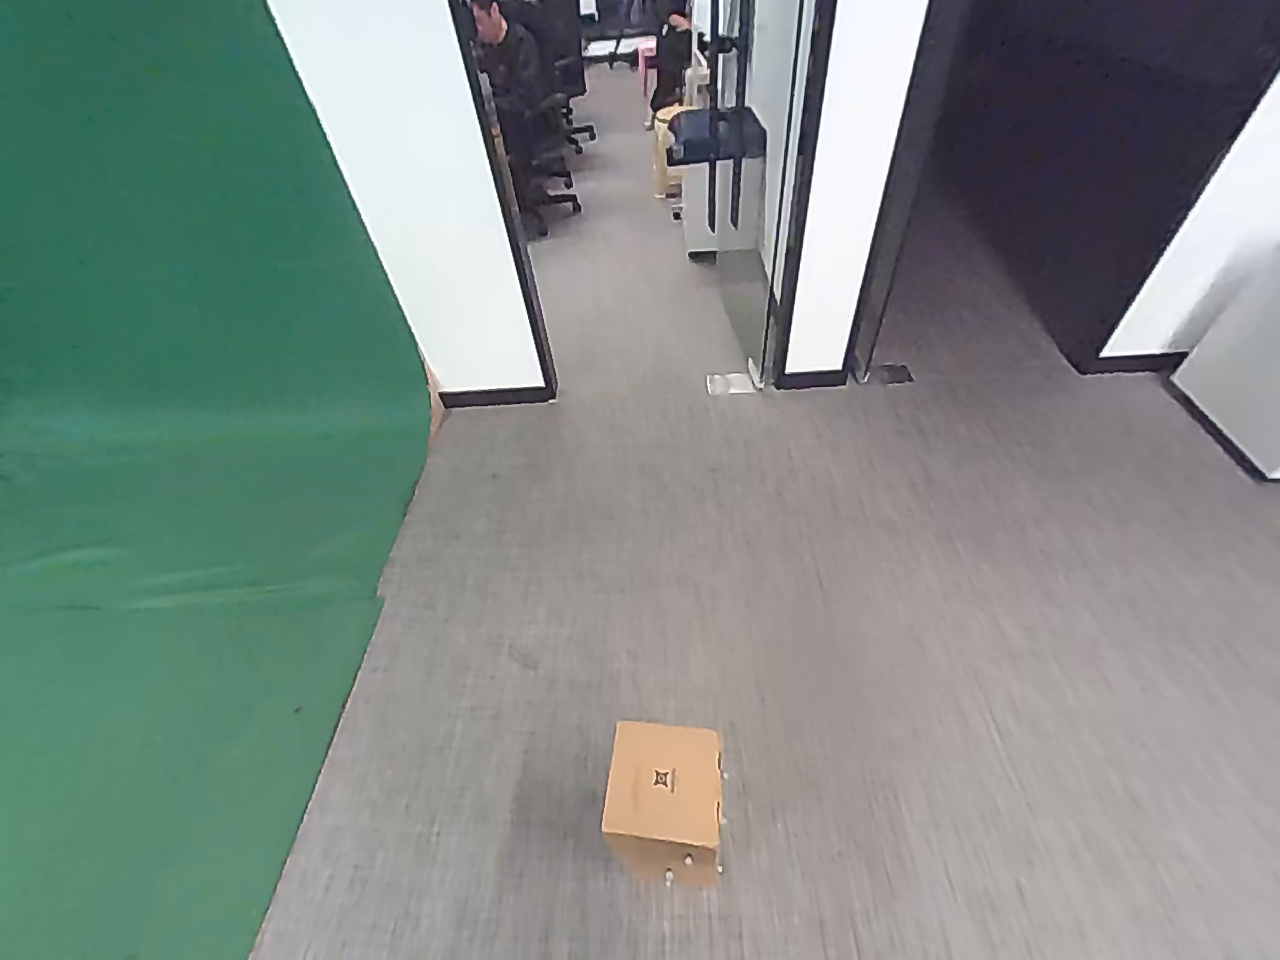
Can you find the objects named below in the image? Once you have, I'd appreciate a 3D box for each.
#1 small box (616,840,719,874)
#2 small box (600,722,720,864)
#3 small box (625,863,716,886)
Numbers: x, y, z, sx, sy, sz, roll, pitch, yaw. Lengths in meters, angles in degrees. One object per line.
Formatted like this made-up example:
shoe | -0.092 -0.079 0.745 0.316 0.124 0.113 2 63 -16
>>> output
small box | 0.059 0.636 1.028 0.179 0.176 0.168 -1 49 7
small box | 0.042 0.526 0.906 0.179 0.176 0.168 1 46 9
small box | 0.074 0.744 1.146 0.179 0.176 0.168 1 47 9
